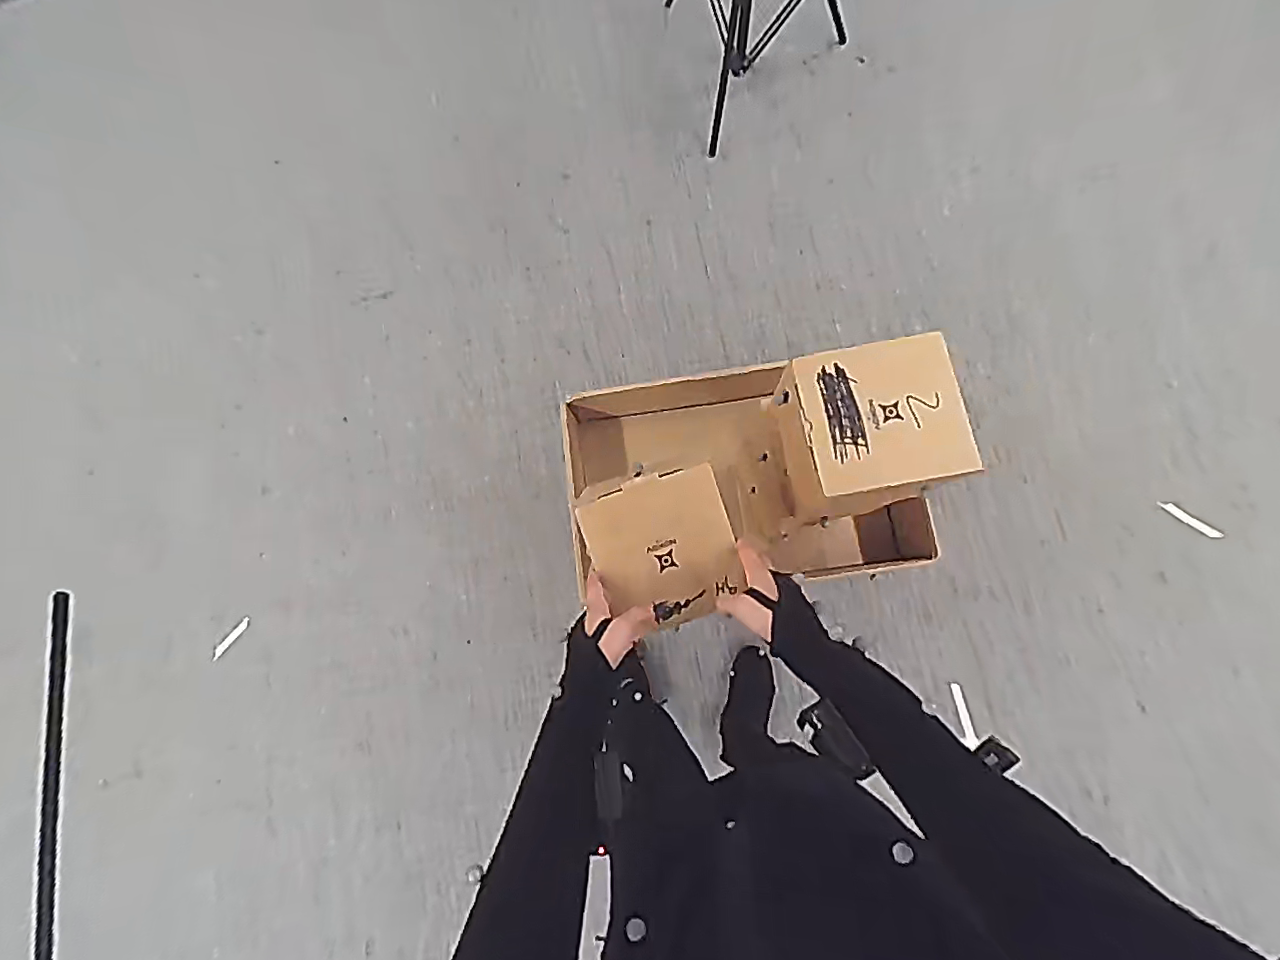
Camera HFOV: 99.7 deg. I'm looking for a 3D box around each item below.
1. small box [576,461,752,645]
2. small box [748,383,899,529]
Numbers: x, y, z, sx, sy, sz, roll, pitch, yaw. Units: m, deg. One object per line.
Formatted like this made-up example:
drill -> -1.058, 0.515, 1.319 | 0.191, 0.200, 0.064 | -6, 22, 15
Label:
small box -> 0.025, 0.080, 0.700 | 0.168, 0.176, 0.179 | -19, 96, 0
small box -> 0.270, -0.028, 0.840 | 0.168, 0.176, 0.179 | -10, 79, 4
